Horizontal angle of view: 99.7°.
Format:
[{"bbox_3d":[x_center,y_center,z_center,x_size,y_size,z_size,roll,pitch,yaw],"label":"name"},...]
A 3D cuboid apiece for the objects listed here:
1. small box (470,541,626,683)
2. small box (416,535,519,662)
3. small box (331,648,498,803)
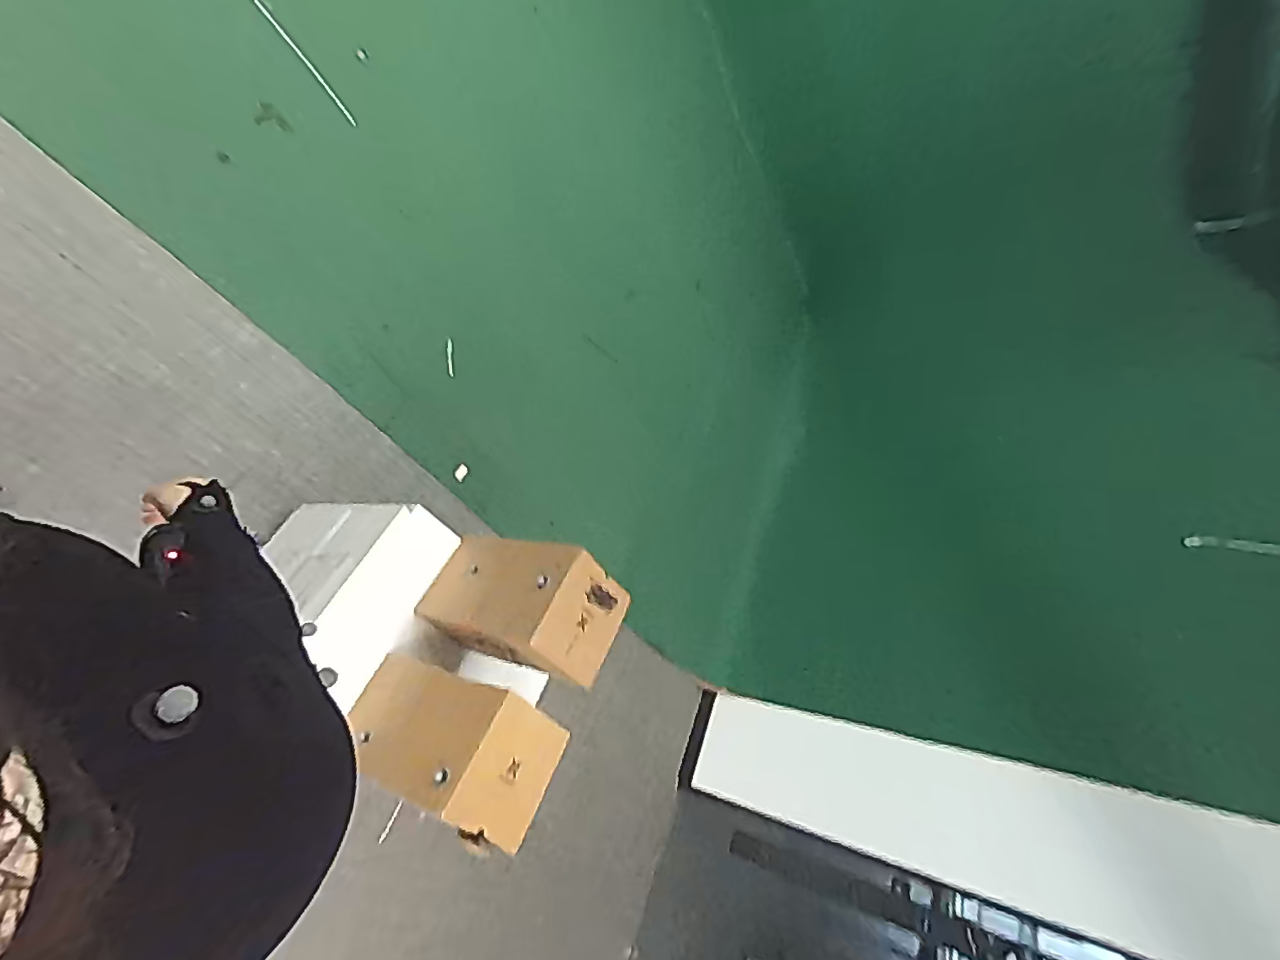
[{"bbox_3d":[-0.160,0.222,0.947,0.168,0.176,0.179,53,52,-37],"label":"small box"},{"bbox_3d":[-0.293,0.221,1.047,0.168,0.176,0.179,53,52,-36],"label":"small box"},{"bbox_3d":[-0.387,0.411,0.923,0.168,0.176,0.179,54,47,-38],"label":"small box"}]
